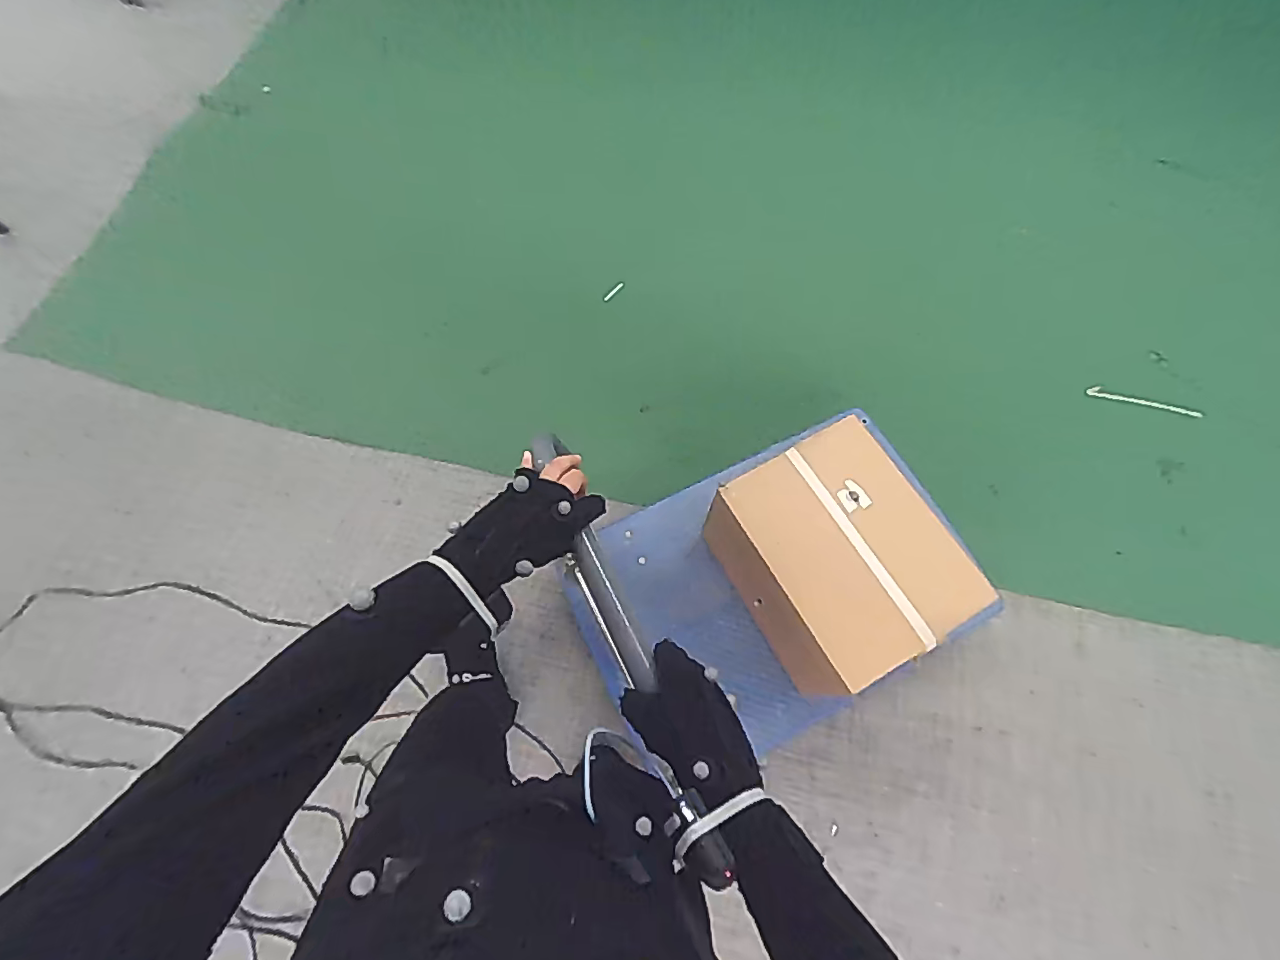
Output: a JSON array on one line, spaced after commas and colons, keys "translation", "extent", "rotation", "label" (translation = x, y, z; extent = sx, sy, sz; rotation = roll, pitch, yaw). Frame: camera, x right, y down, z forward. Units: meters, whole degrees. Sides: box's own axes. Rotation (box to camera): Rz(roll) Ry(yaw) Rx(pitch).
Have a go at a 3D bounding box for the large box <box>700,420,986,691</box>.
[{"translation": [0.365, 0.165, 1.095], "extent": [0.320, 0.320, 0.408], "rotation": [-27, 70, -11], "label": "large box"}]
